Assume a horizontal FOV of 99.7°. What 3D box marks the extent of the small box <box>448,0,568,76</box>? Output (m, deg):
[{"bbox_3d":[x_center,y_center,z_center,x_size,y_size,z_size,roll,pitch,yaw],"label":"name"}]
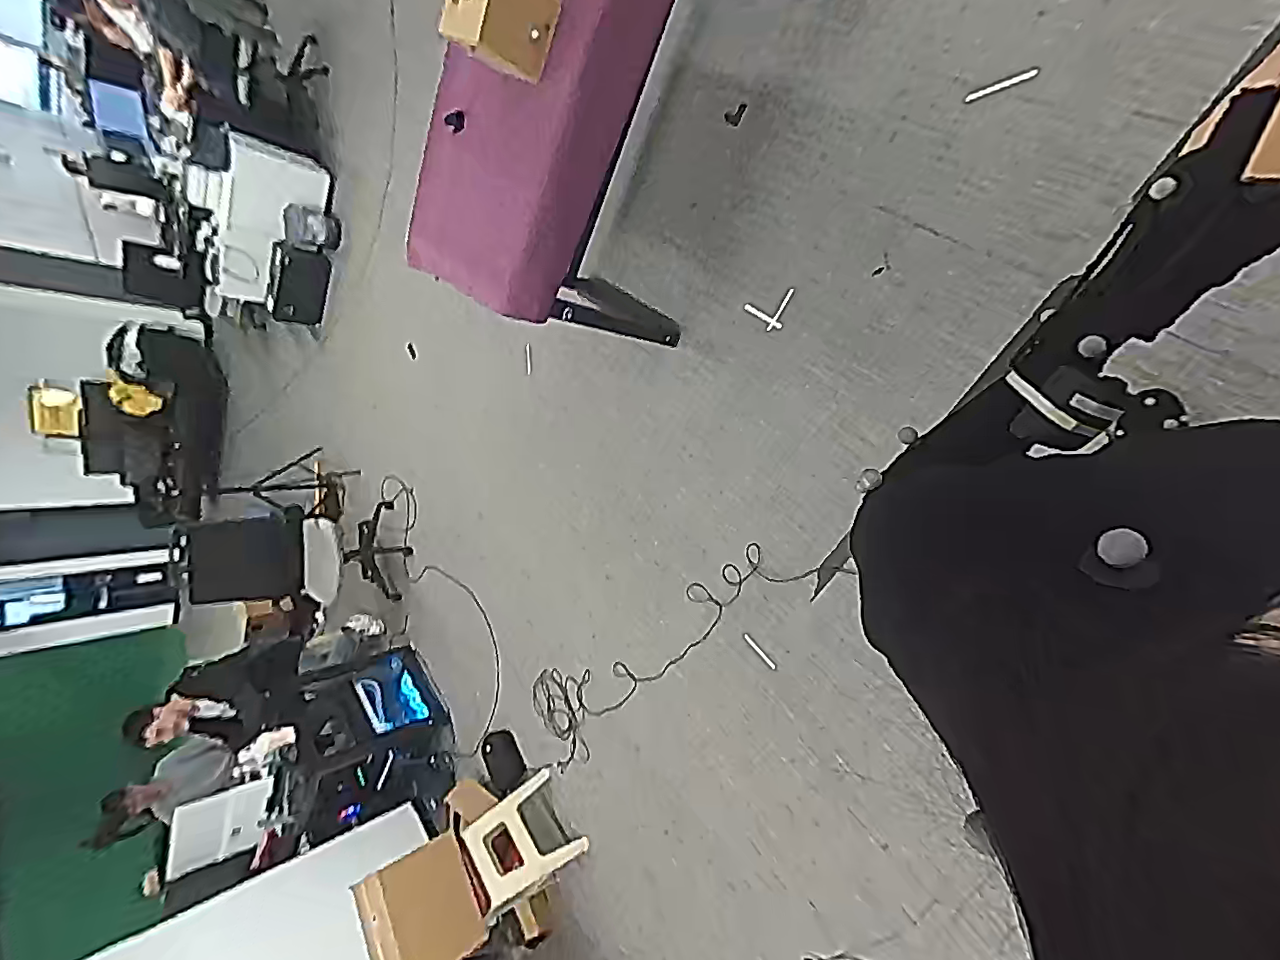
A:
[{"bbox_3d":[-0.292,-1.034,1.196,0.179,0.176,0.168,41,119,32],"label":"small box"}]
